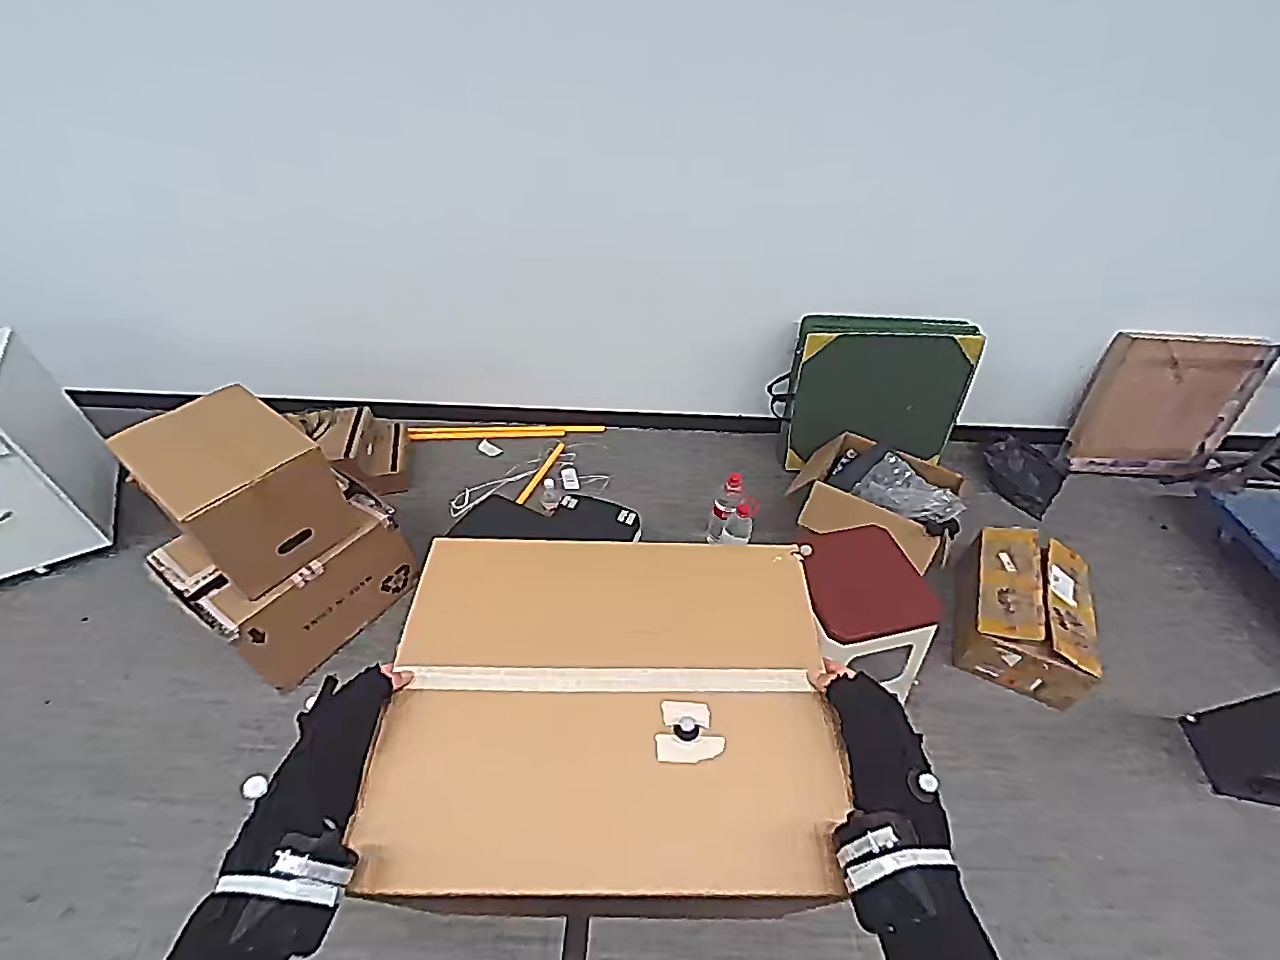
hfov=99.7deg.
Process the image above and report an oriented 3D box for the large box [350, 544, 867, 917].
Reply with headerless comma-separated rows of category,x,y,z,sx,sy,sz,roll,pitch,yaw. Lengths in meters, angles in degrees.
large box,-0.029,0.289,0.617,0.408,0.320,0.320,2,49,-2
